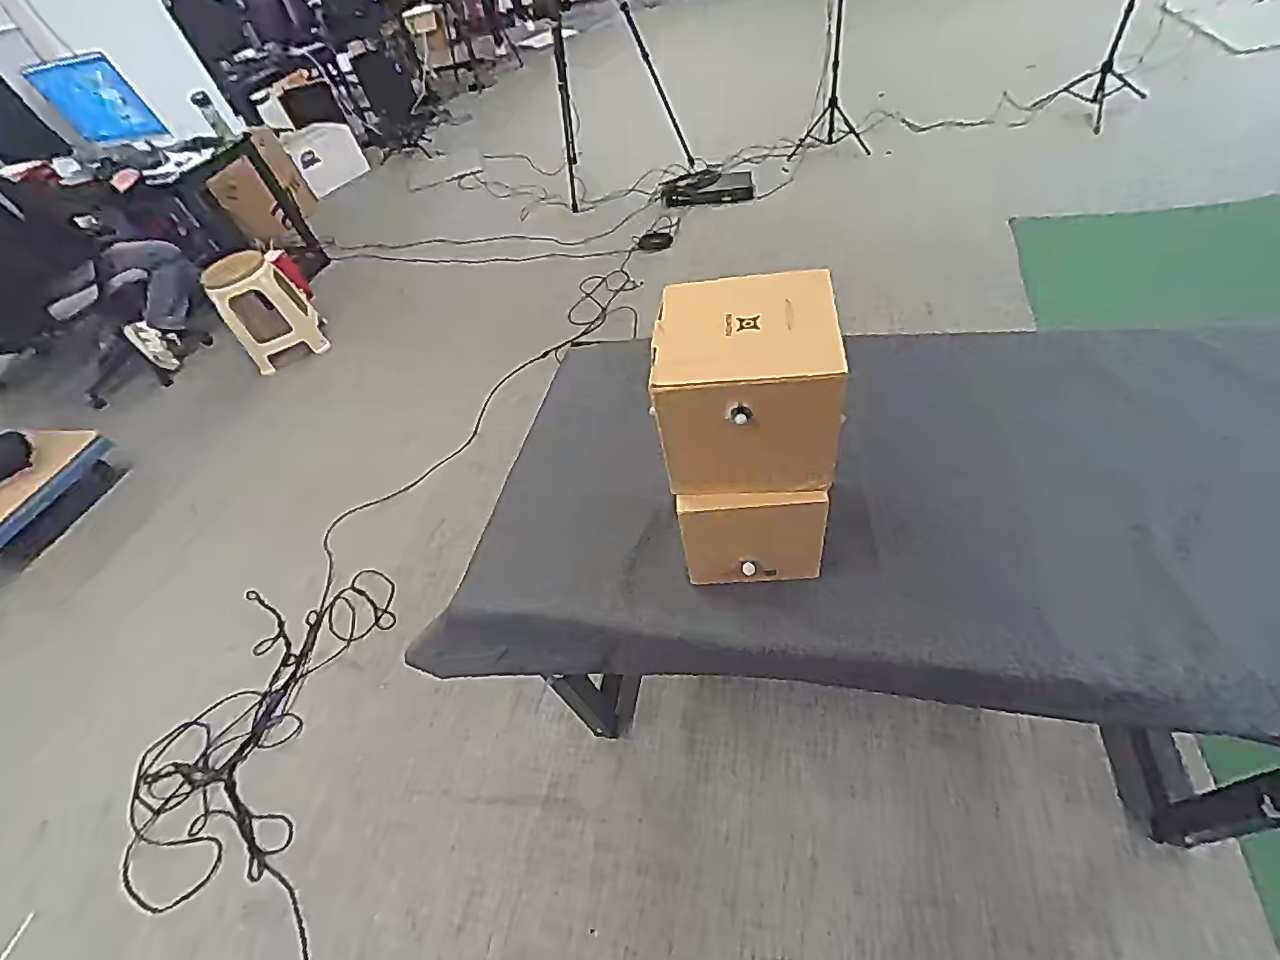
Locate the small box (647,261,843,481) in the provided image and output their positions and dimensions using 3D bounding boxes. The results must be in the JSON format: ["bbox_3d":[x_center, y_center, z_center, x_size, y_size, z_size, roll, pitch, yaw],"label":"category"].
[{"bbox_3d":[0.113,-0.110,0.589,0.179,0.176,0.168,-1,53,11],"label":"small box"}]

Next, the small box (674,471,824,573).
[{"bbox_3d":[0.135,0.003,0.704,0.168,0.176,0.179,-5,51,9],"label":"small box"}]
